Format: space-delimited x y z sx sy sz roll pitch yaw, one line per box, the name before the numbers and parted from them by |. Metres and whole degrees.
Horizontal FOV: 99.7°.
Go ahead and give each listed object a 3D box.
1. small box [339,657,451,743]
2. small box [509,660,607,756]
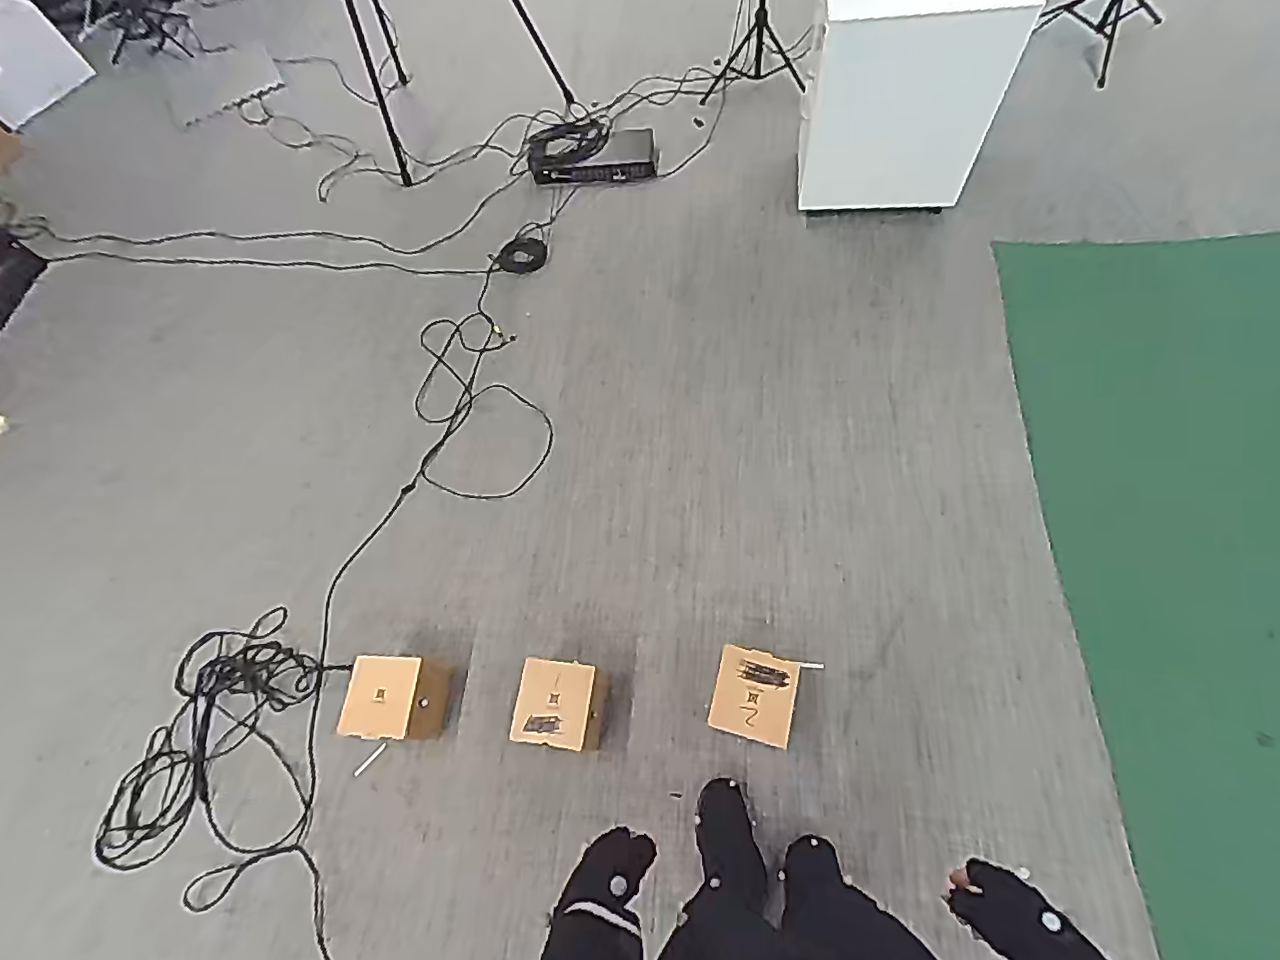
small box | -0.579 0.533 1.305 0.168 0.176 0.179 0 65 8
small box | -0.179 0.529 1.250 0.168 0.176 0.179 5 64 10
